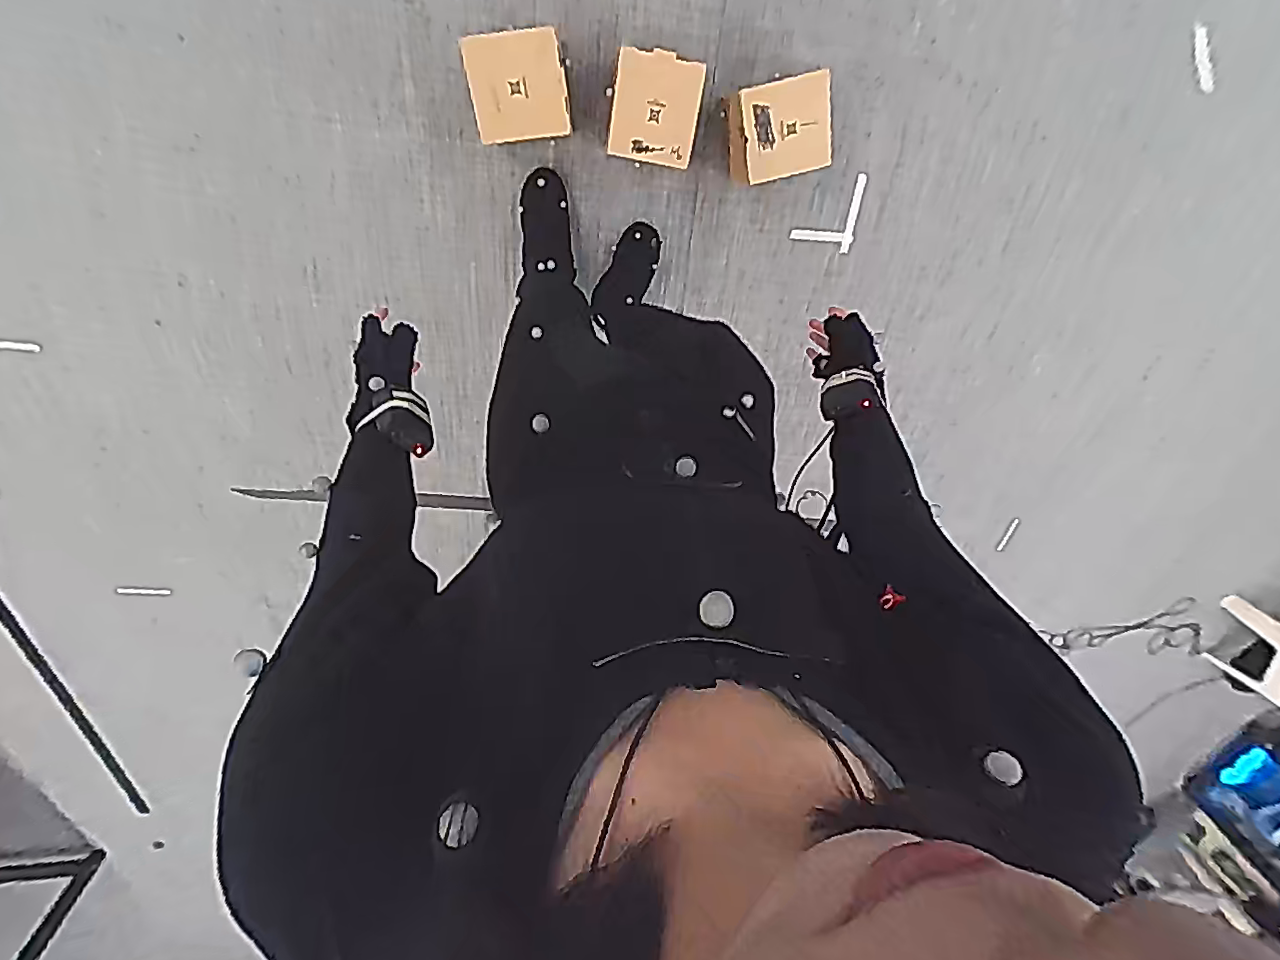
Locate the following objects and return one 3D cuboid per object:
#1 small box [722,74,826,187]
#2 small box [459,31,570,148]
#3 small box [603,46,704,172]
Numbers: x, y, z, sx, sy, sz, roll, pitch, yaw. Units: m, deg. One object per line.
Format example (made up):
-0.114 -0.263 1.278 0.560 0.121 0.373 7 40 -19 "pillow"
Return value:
0.276 -0.729 1.138 0.179 0.176 0.168 -13 122 1 "small box"
-0.236 -0.763 1.068 0.179 0.176 0.168 -7 121 0 "small box"
0.018 -0.746 1.104 0.168 0.176 0.179 6 121 -10 "small box"
